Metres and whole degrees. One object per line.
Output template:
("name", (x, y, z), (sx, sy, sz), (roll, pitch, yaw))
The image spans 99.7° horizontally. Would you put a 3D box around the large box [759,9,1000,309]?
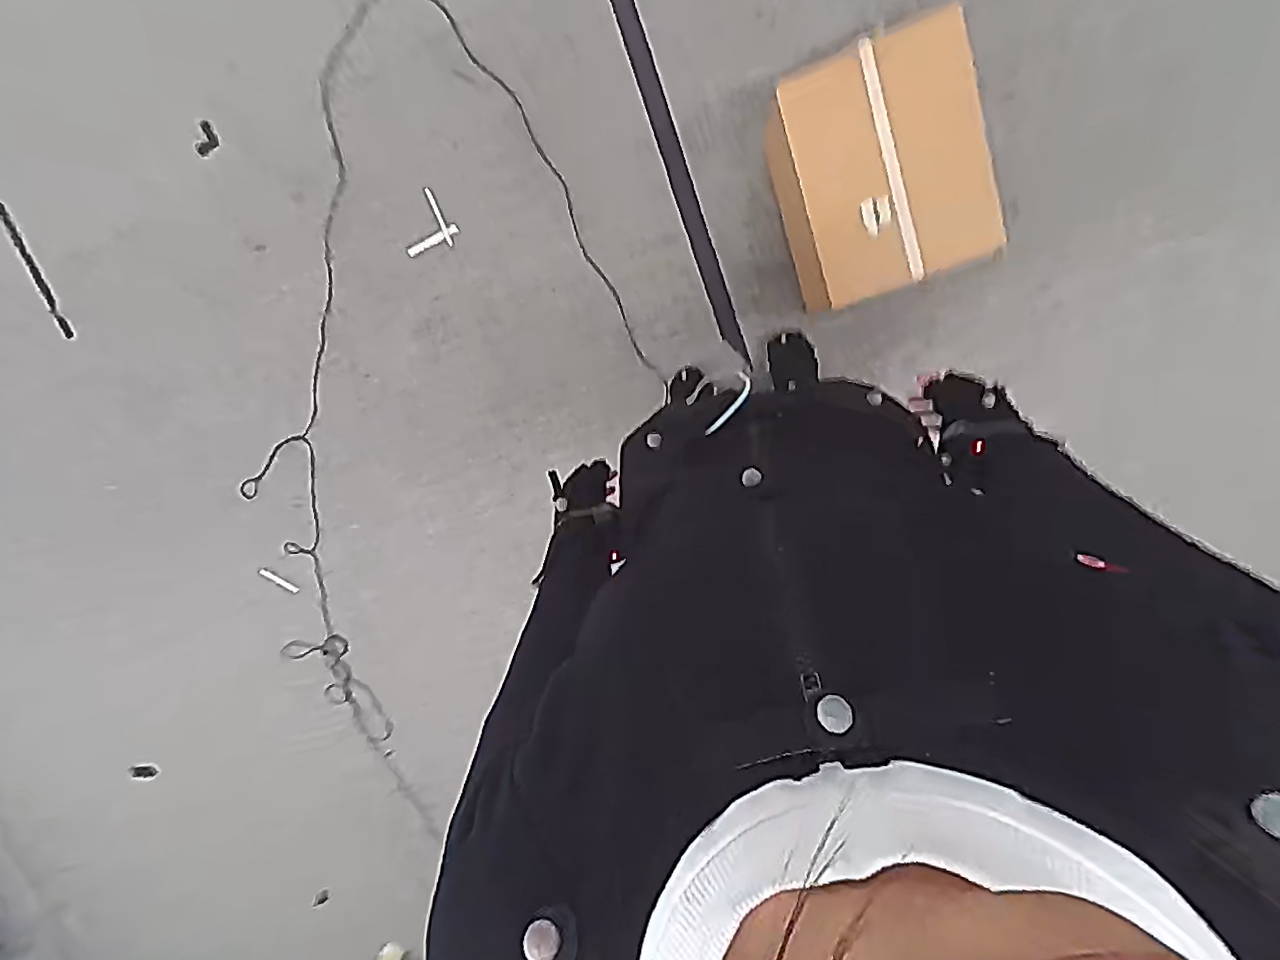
("large box", (0.461, -0.602, 1.111), (0.320, 0.320, 0.408), (-17, 103, 13))
